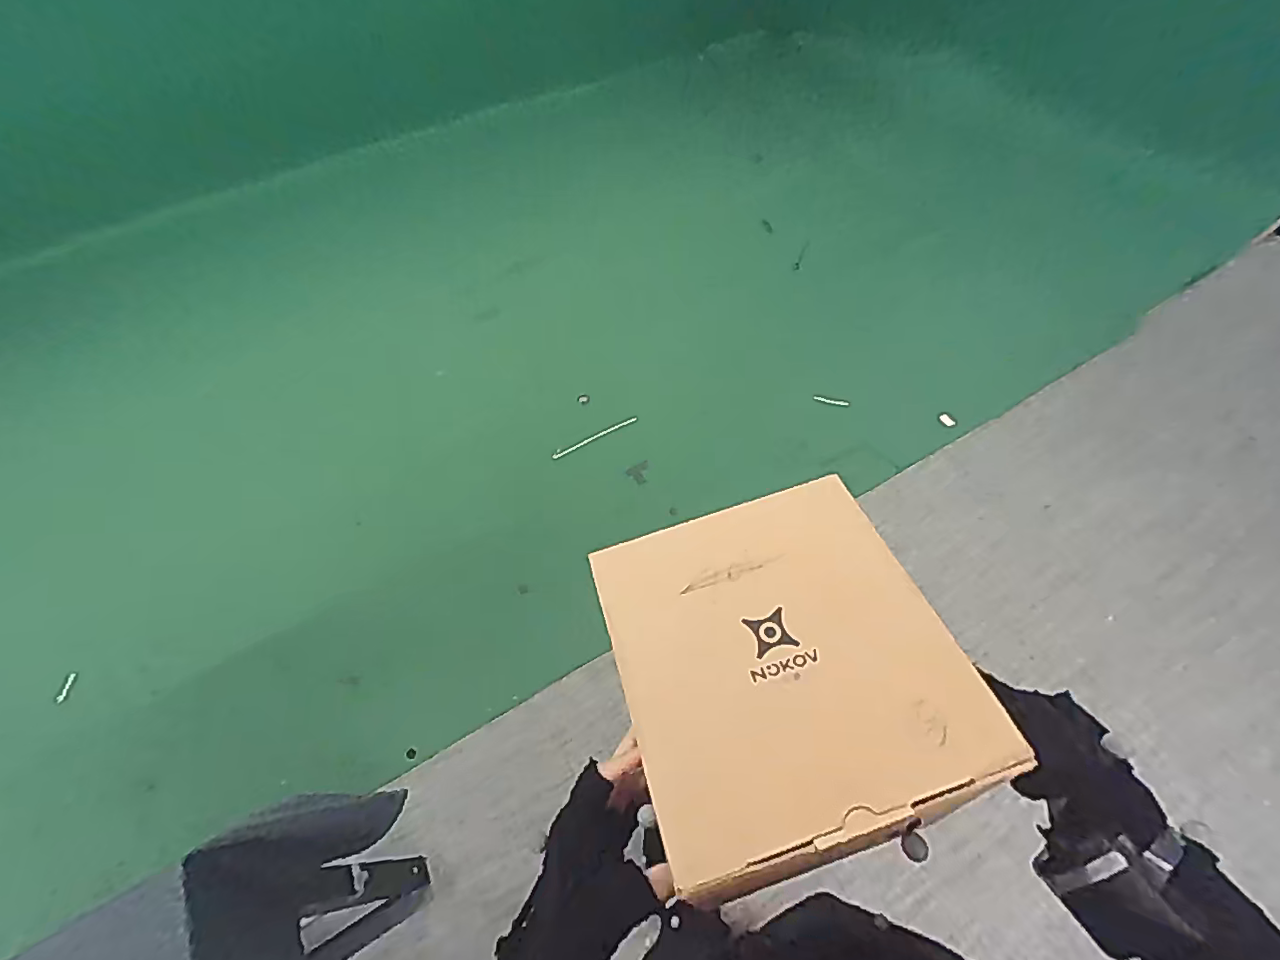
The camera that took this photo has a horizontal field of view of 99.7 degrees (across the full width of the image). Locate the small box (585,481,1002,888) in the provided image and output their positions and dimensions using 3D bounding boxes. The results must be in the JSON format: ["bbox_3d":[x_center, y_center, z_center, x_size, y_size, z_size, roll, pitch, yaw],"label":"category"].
[{"bbox_3d":[0.076,0.136,0.349,0.168,0.176,0.179,-17,50,-3],"label":"small box"}]
